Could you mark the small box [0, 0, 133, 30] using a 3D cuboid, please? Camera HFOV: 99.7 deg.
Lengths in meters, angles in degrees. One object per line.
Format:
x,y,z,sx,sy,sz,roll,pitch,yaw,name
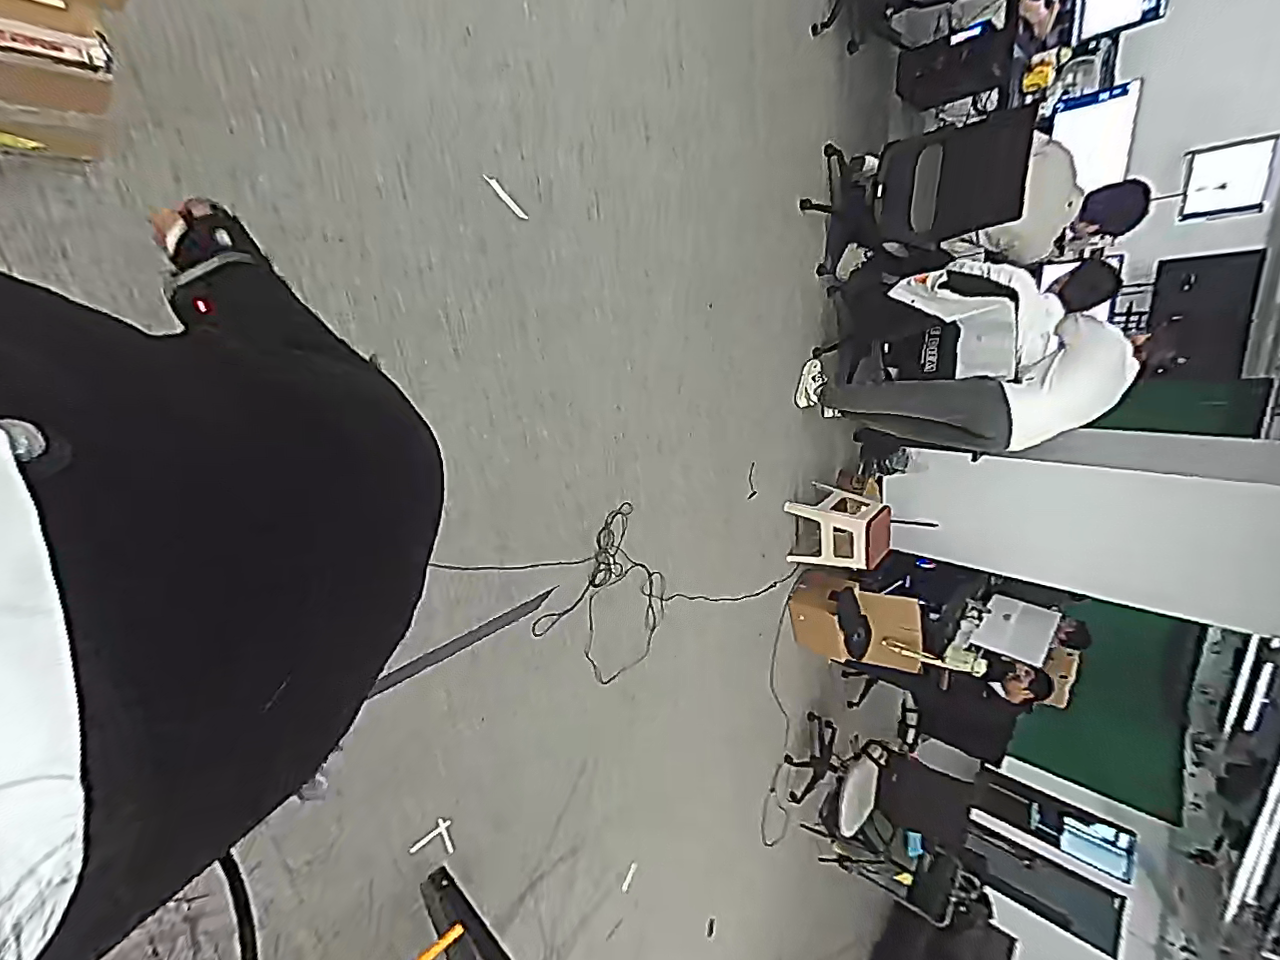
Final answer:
-0.687,-0.623,0.578,0.179,0.176,0.168,-25,117,-42,small box
